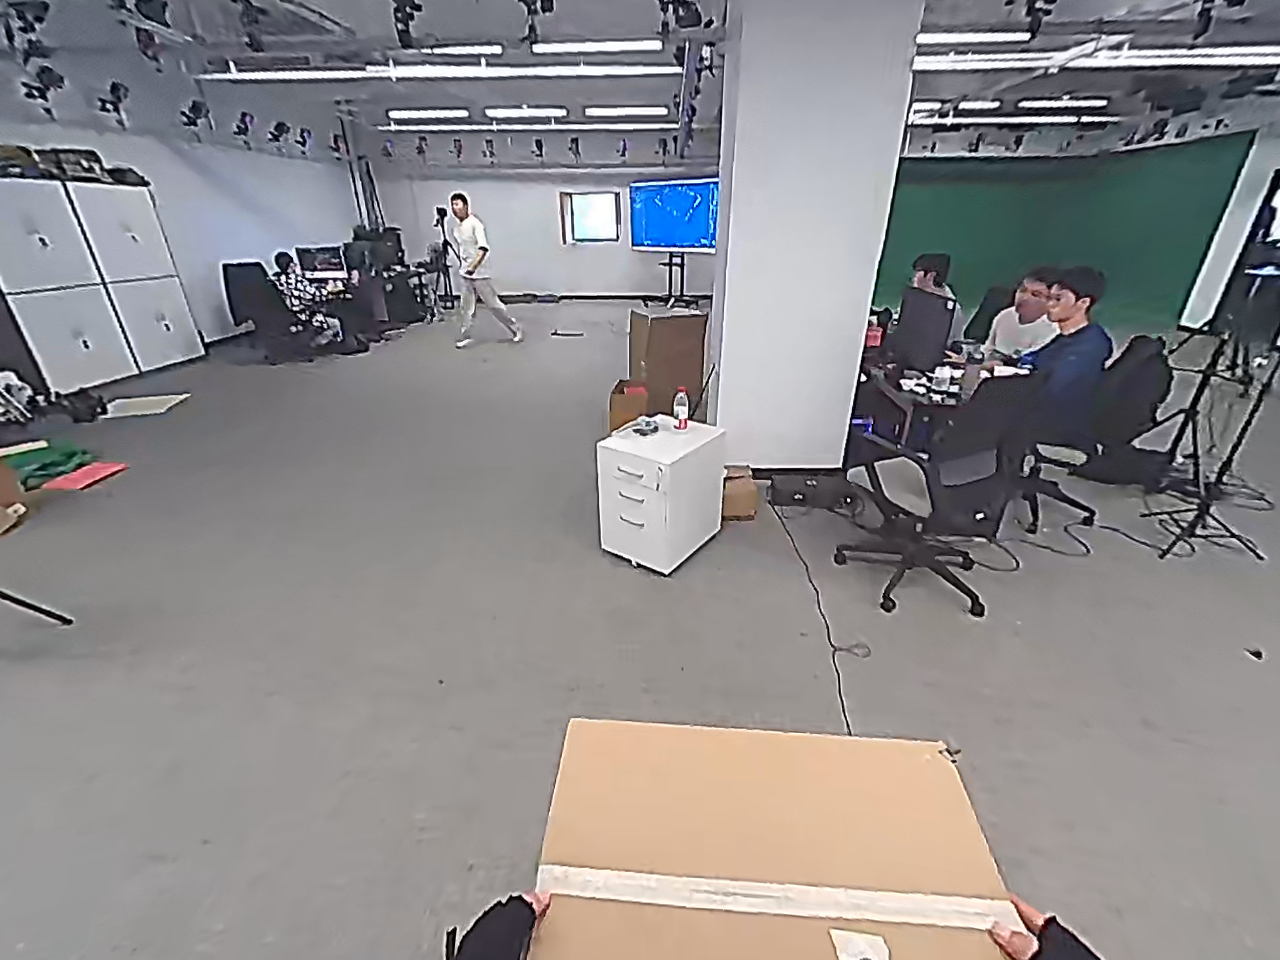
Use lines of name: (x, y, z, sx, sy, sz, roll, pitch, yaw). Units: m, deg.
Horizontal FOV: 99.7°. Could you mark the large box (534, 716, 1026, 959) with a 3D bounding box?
large box: (0.115, 0.484, 0.558, 0.408, 0.320, 0.320, 3, 34, 4)
